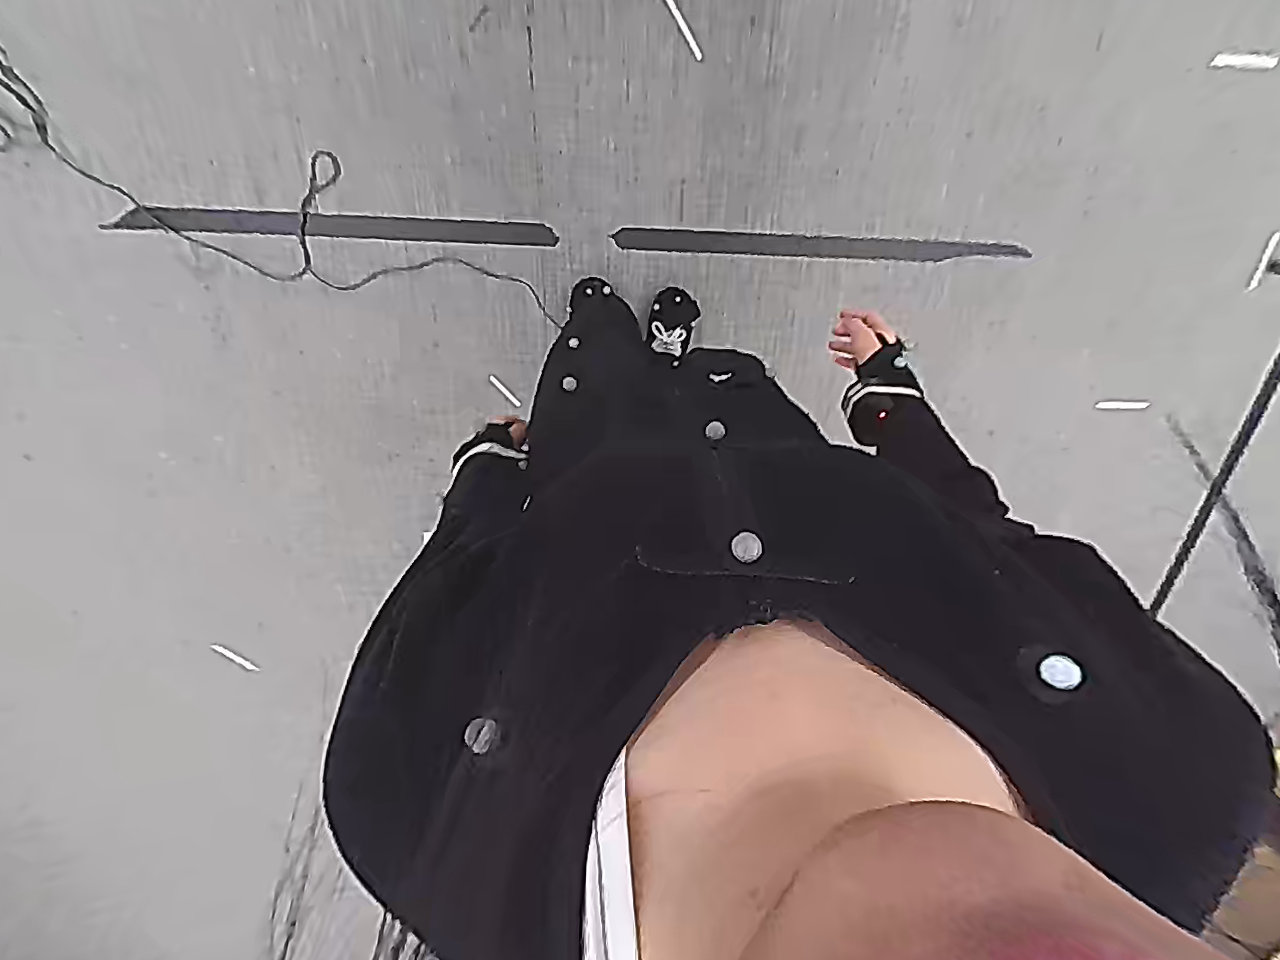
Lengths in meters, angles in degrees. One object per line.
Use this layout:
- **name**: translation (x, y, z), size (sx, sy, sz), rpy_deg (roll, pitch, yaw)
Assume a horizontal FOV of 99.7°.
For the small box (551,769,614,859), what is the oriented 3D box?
- **small box**: translation (-0.166, 0.989, 1.610), size (0.179, 0.176, 0.168), rpy_deg (0, 113, -2)
